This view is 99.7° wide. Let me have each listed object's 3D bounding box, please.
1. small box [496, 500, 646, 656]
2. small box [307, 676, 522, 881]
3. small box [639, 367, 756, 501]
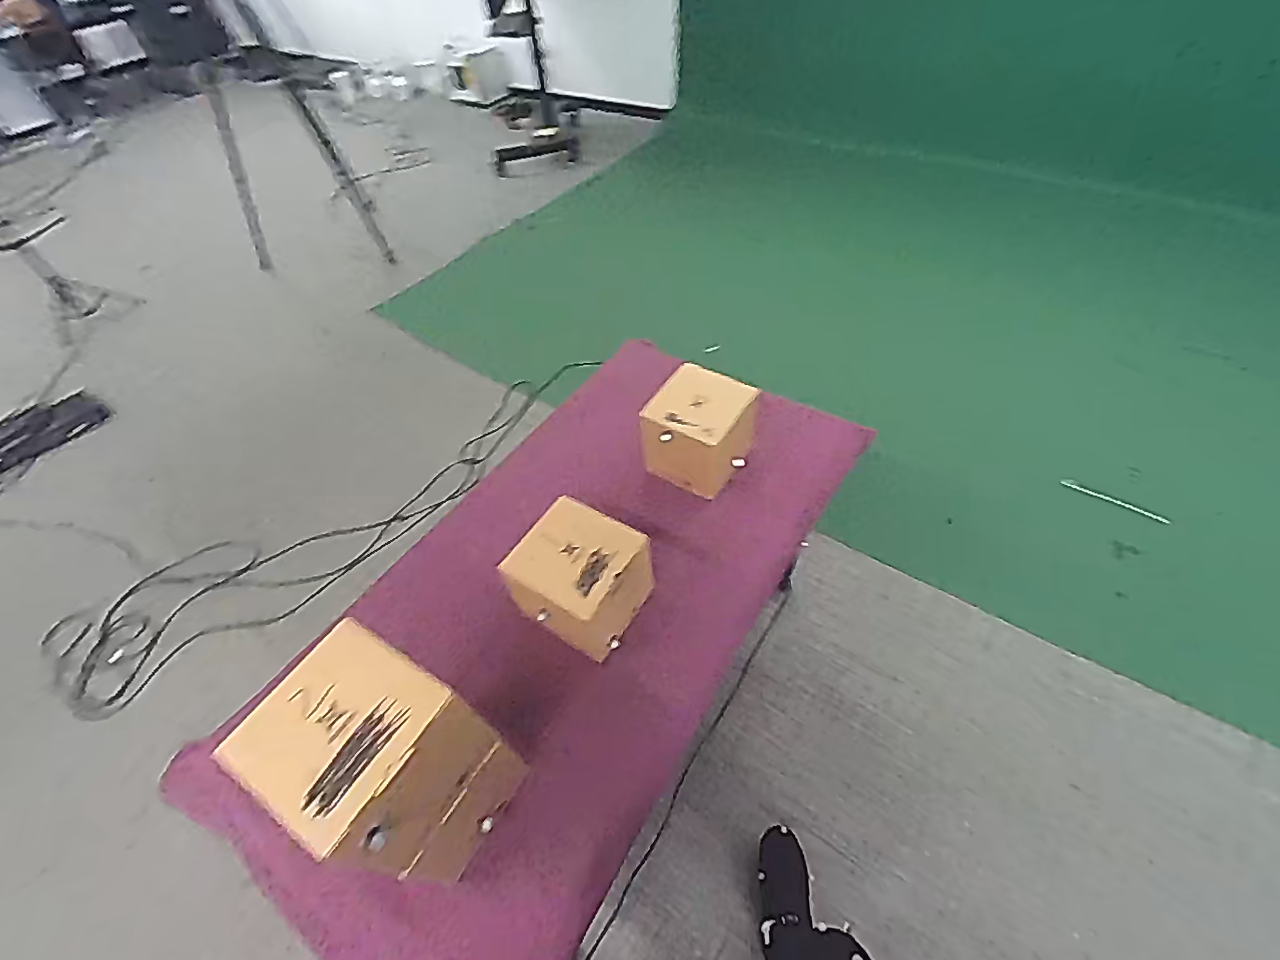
[{"bbox_3d":[-0.103,0.170,0.903,0.179,0.176,0.168,24,57,23],"label":"small box"},{"bbox_3d":[-0.288,0.403,0.726,0.179,0.176,0.168,24,57,22],"label":"small box"},{"bbox_3d":[0.115,-0.092,1.096,0.168,0.176,0.179,26,57,24],"label":"small box"}]
